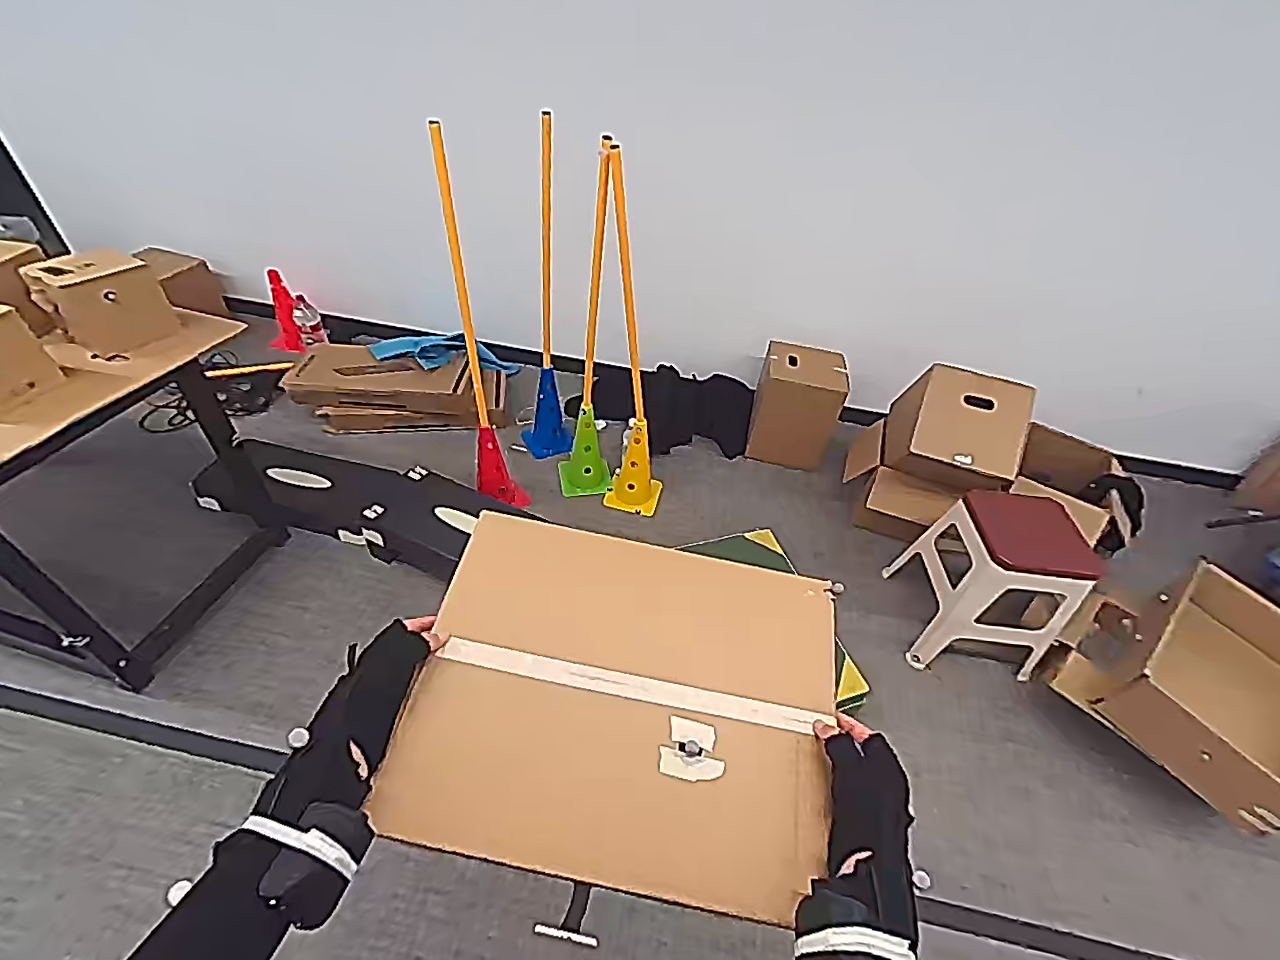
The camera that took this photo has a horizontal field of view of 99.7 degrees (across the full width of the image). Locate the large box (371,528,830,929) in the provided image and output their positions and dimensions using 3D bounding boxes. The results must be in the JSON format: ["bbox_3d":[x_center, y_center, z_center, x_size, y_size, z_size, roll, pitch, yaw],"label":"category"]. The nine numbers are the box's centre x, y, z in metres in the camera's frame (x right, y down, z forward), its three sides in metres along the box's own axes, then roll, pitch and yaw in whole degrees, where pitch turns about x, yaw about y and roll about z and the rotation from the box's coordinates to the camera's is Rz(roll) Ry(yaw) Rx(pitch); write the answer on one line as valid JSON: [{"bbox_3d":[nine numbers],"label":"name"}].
[{"bbox_3d":[-0.026,0.297,0.659,0.408,0.320,0.320,12,56,1],"label":"large box"}]
